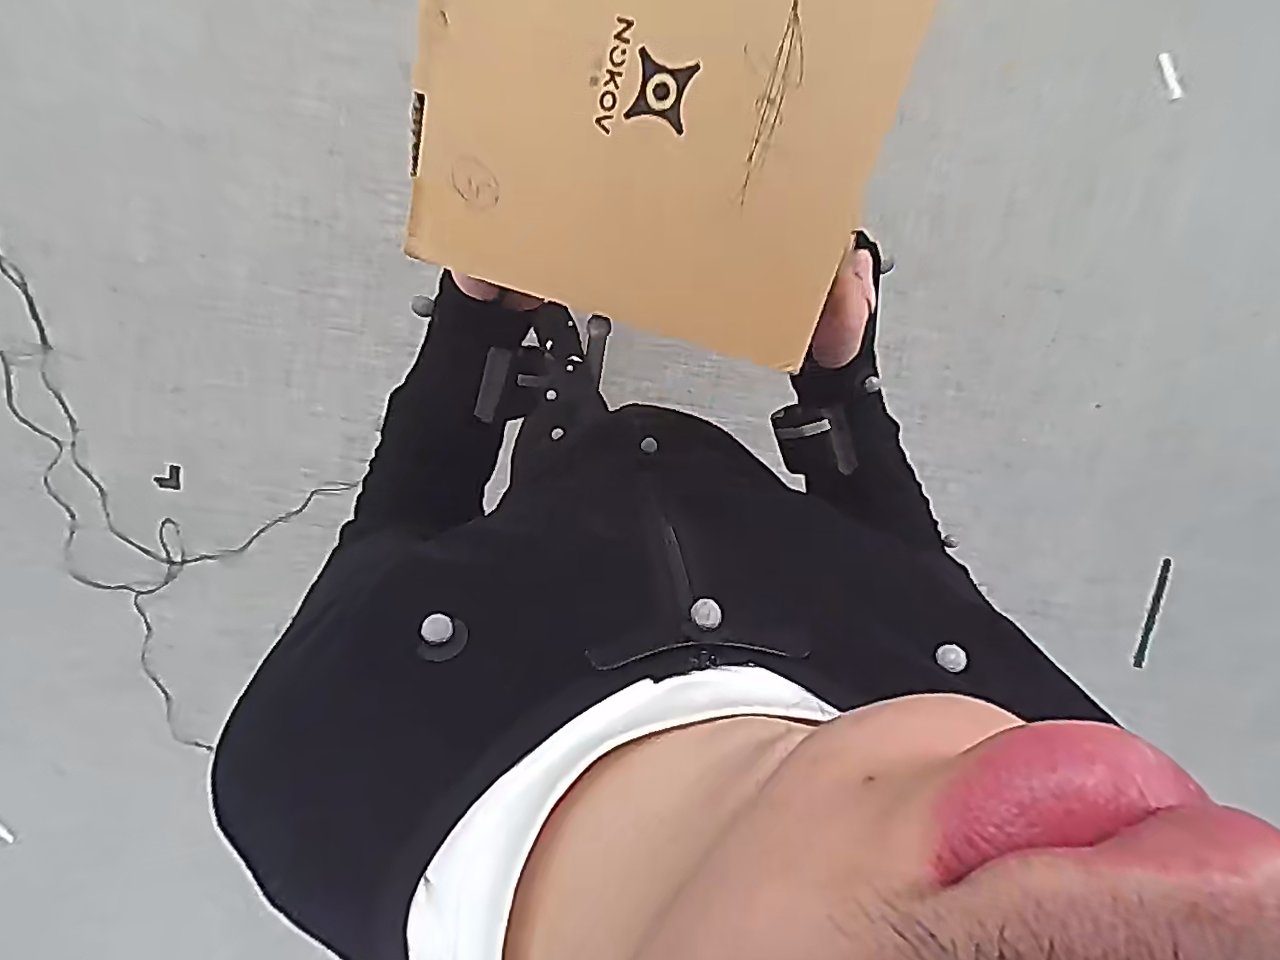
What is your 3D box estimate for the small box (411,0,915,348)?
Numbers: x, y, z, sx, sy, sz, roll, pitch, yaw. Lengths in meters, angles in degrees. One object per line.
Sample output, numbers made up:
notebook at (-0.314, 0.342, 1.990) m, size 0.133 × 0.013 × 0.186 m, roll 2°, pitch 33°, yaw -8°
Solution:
small box at (0.011, -0.178, 0.285) m, size 0.179 × 0.176 × 0.168 m, roll 16°, pitch 110°, yaw 0°
